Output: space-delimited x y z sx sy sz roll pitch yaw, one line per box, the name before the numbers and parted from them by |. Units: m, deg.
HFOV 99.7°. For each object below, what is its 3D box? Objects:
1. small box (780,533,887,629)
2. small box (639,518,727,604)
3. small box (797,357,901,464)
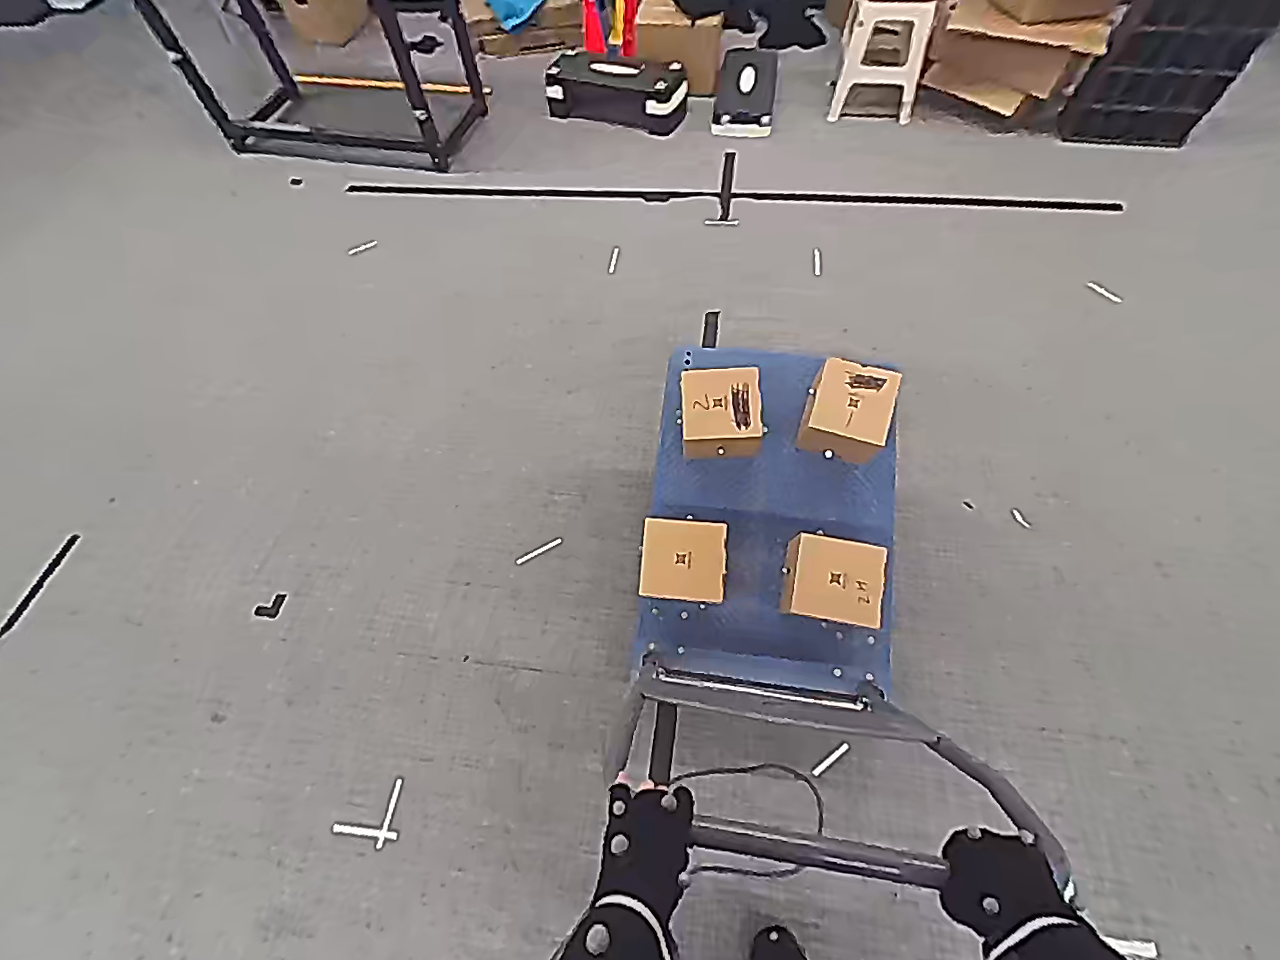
small box | 0.409 0.221 1.167 0.179 0.176 0.168 10 78 8
small box | 0.096 0.185 1.205 0.179 0.176 0.168 4 77 5
small box | 0.474 -0.154 1.251 0.168 0.176 0.179 17 80 9
